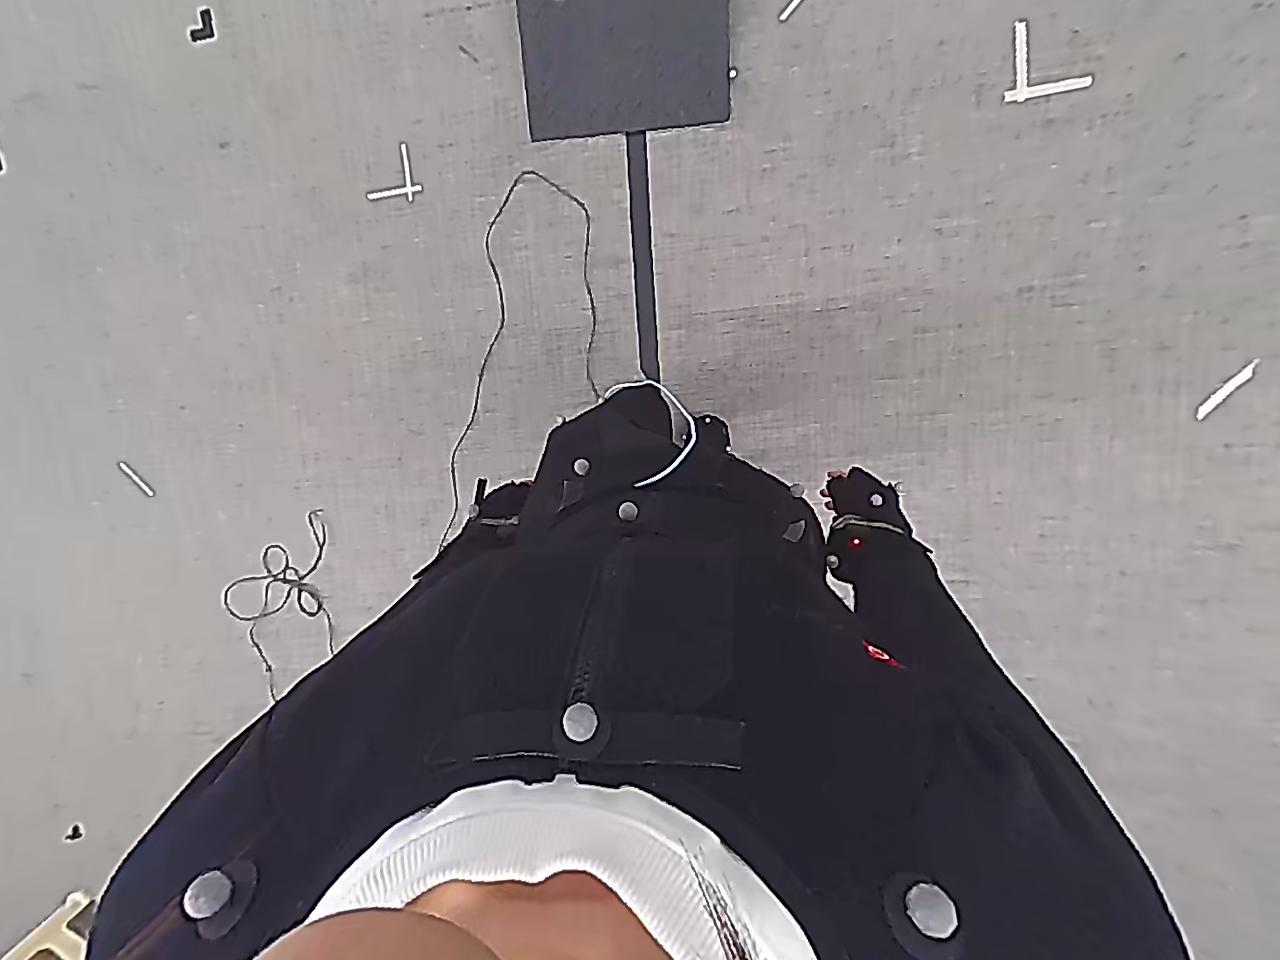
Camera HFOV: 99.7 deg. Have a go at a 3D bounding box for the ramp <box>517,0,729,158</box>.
[{"bbox_3d":[-0.062,-1.304,1.194,0.509,0.206,0.991,-4,98,8],"label":"ramp"}]
